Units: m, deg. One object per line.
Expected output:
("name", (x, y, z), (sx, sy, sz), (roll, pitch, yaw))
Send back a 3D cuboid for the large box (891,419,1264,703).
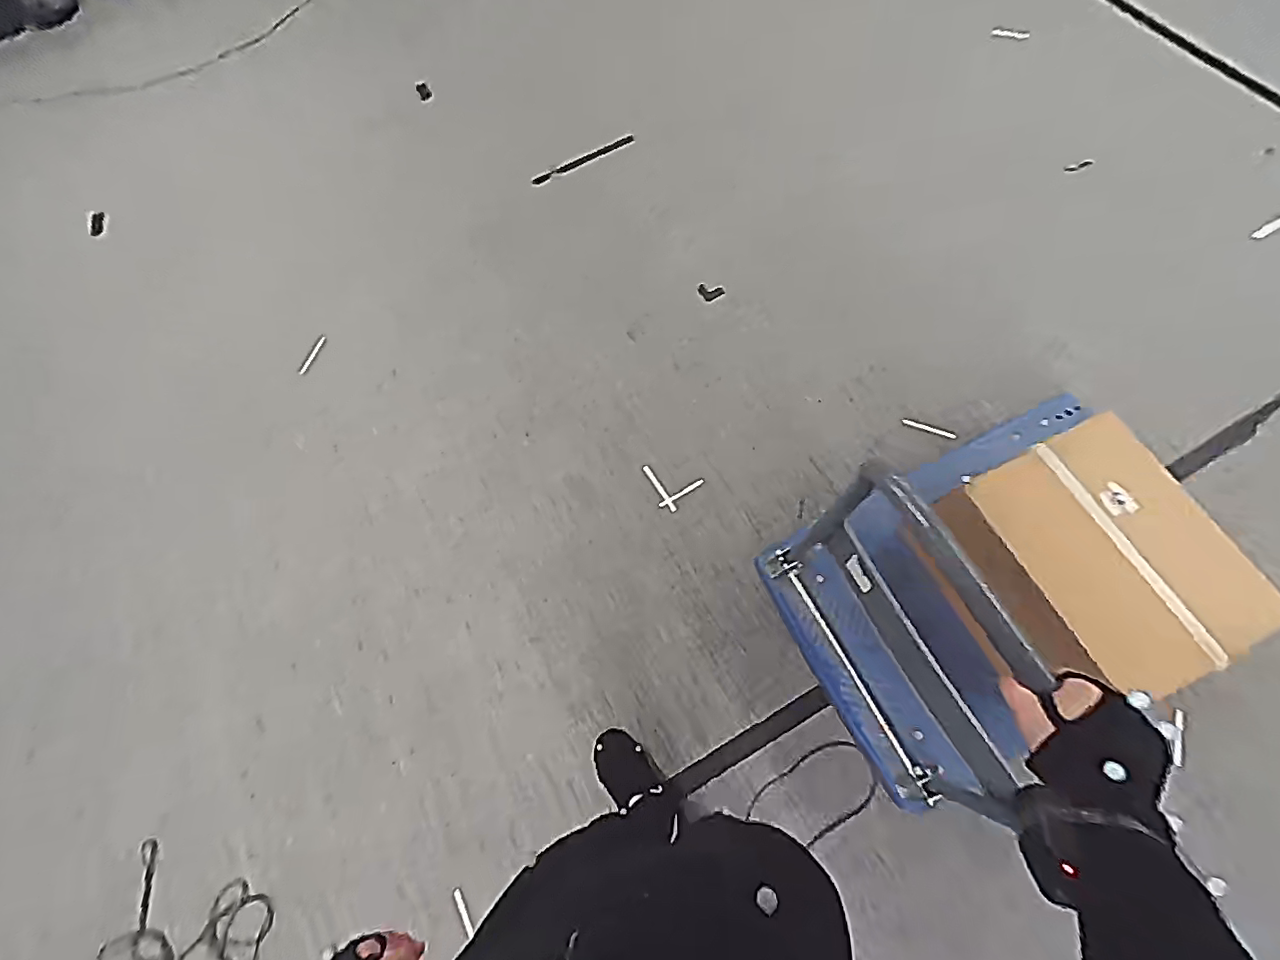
("large box", (0.781, 0.168, 1.049), (0.320, 0.320, 0.408), (-27, 69, -5))
